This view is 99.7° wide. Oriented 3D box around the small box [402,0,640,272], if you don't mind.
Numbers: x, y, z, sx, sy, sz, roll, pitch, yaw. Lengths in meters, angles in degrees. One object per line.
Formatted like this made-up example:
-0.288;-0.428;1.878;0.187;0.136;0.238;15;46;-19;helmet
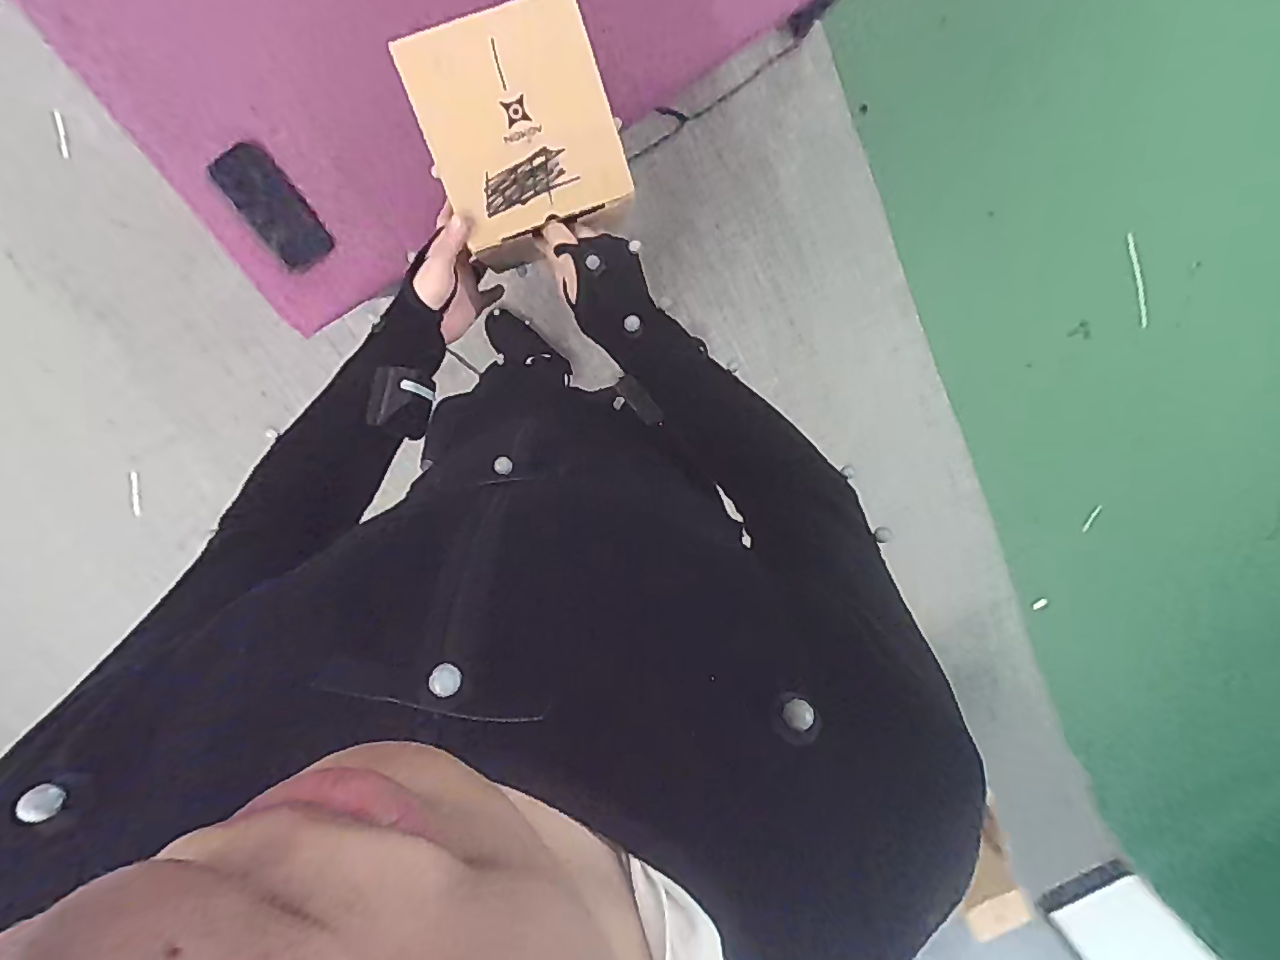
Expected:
-0.107;-0.327;0.555;0.168;0.176;0.179;-19;104;-2;small box

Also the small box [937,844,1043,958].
0.983;1.182;1.527;0.168;0.176;0.179;-29;111;3;small box
